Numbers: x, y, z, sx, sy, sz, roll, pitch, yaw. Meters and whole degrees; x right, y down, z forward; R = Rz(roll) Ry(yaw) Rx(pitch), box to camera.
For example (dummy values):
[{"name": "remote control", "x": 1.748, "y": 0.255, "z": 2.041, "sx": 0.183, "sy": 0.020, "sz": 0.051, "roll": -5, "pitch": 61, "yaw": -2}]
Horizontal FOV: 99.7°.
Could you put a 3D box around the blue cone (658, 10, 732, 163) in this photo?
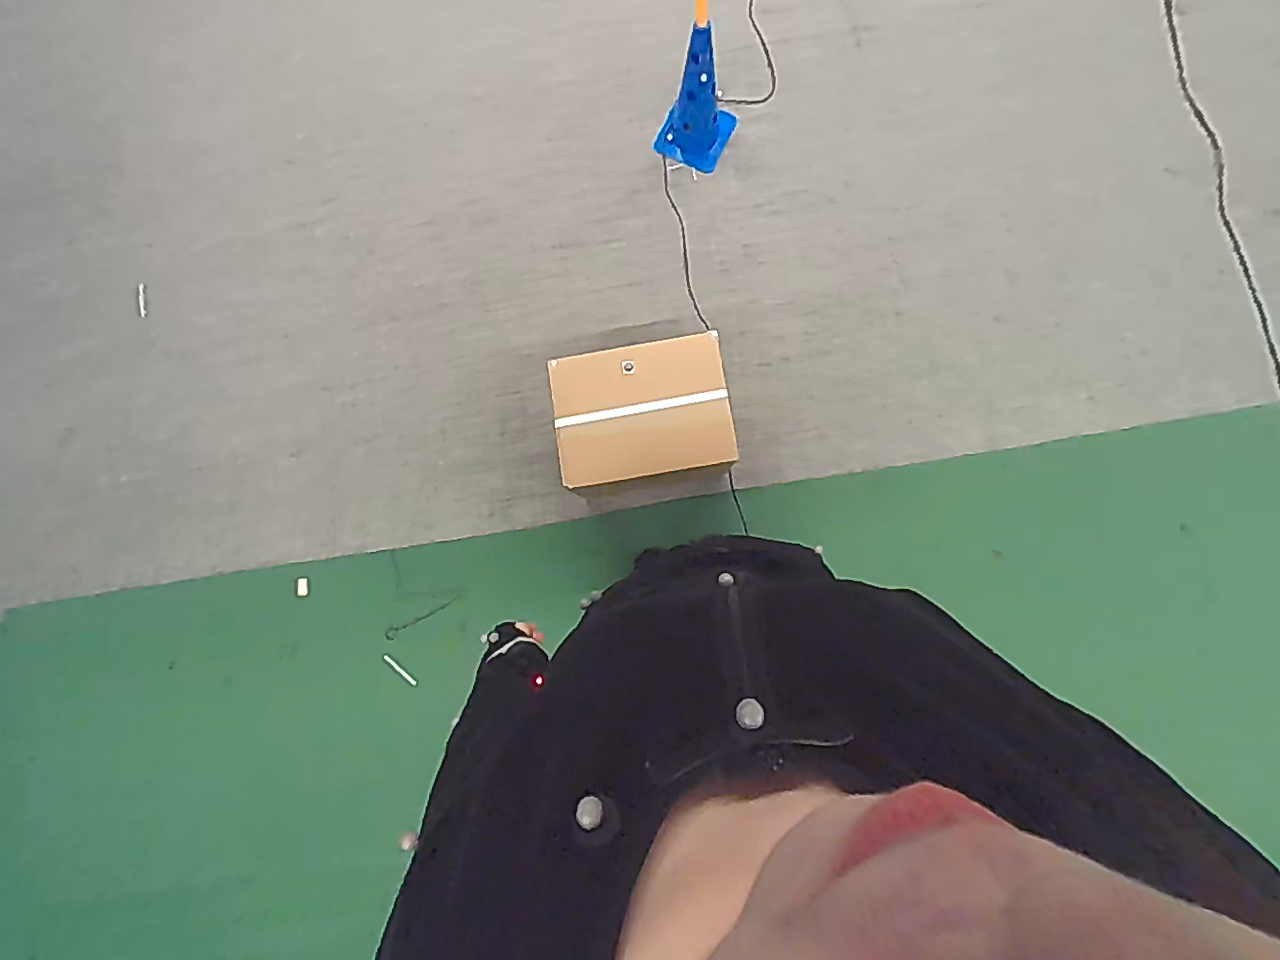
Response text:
[{"name": "blue cone", "x": 0.153, "y": -1.058, "z": 1.441, "sx": 0.192, "sy": 0.380, "sz": 0.193, "roll": 23, "pitch": 87, "yaw": 6}]
